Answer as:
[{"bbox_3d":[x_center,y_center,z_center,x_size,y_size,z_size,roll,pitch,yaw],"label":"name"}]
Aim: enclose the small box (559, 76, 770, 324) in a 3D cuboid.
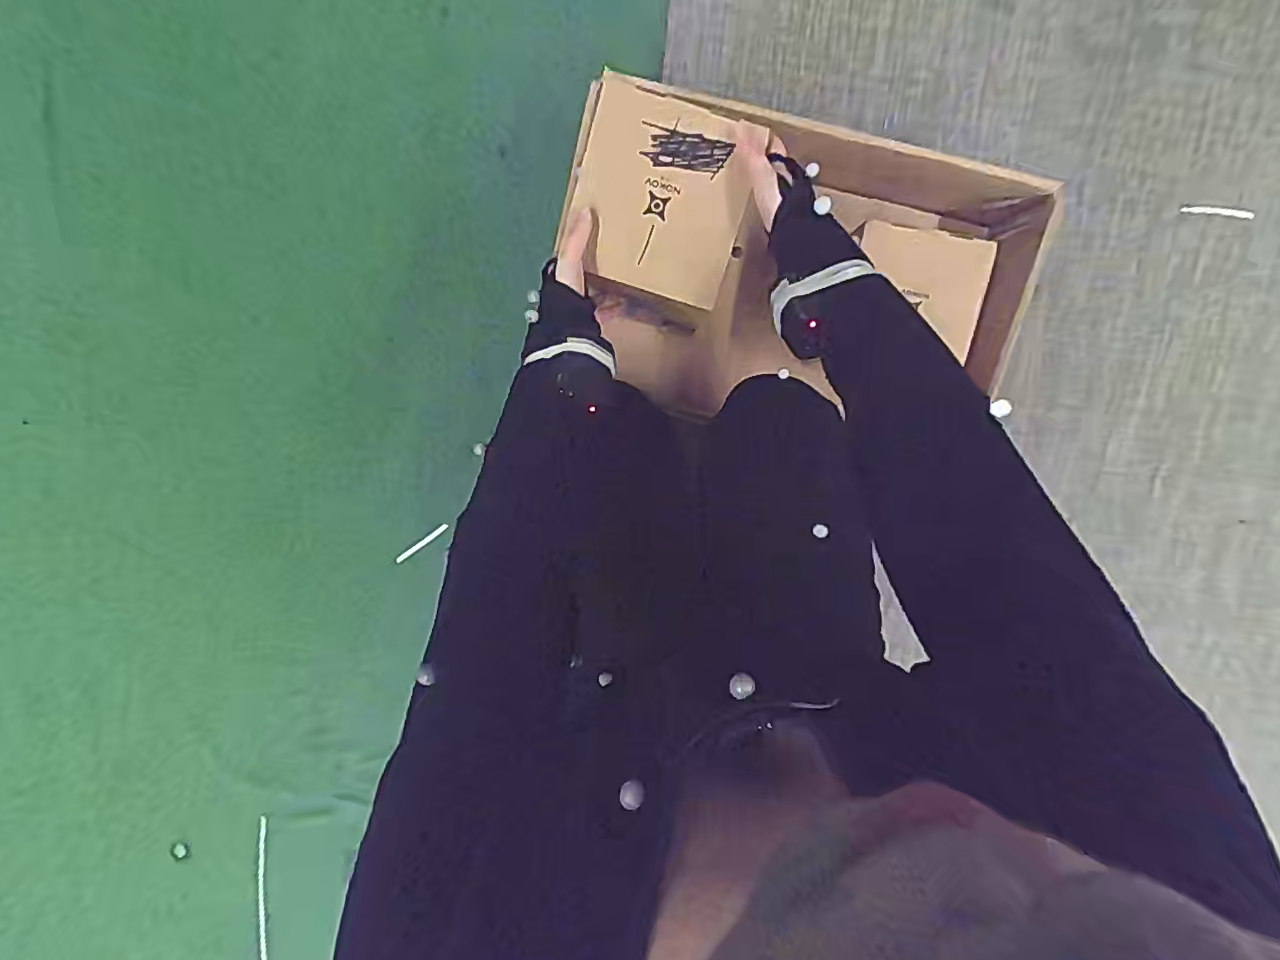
[{"bbox_3d":[0.022,-0.287,0.598,0.168,0.176,0.179,17,101,-1],"label":"small box"}]
